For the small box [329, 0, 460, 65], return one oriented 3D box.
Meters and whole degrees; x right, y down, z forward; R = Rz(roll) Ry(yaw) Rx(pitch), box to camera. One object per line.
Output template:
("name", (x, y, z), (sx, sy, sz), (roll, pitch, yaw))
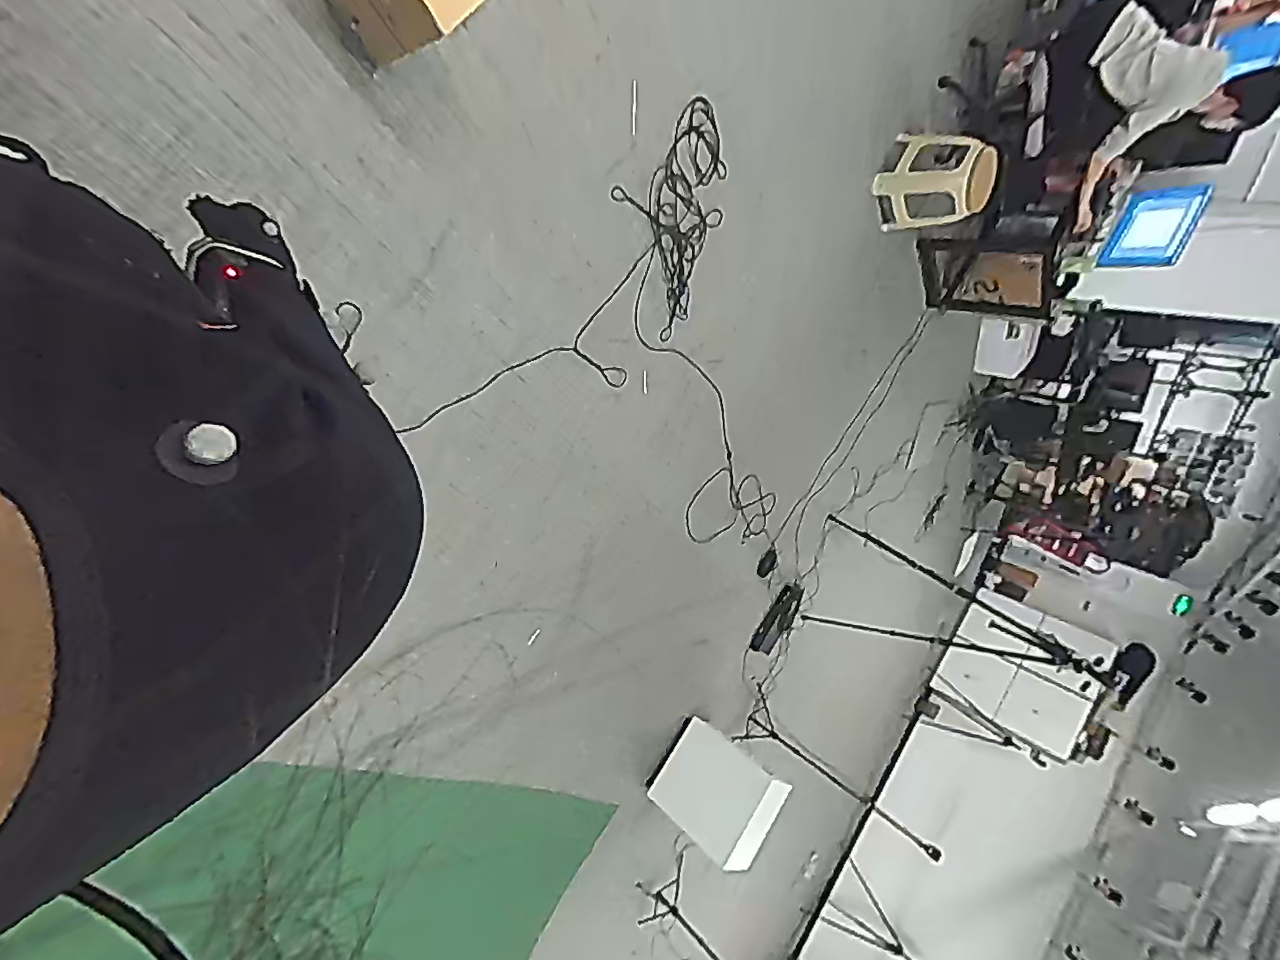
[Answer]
("small box", (-0.520, -1.010, 1.123), (0.179, 0.176, 0.168), (-52, 137, -14))
